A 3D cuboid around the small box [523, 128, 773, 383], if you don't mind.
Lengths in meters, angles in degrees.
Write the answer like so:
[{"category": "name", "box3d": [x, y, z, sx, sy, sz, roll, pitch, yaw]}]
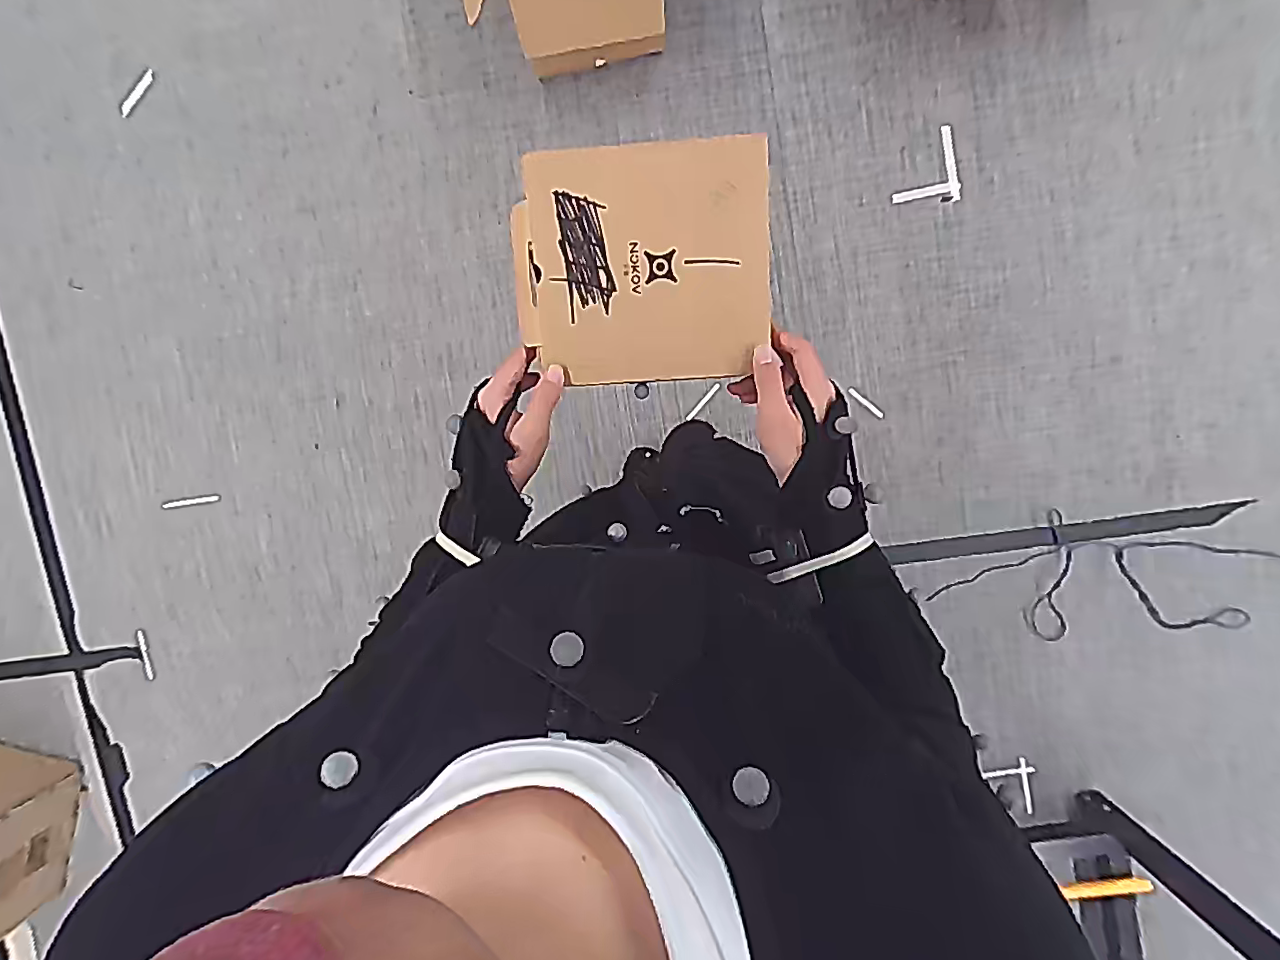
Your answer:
[{"category": "small box", "box3d": [0.012, -0.171, 0.467, 0.179, 0.176, 0.168, -3, 100, 3]}]
